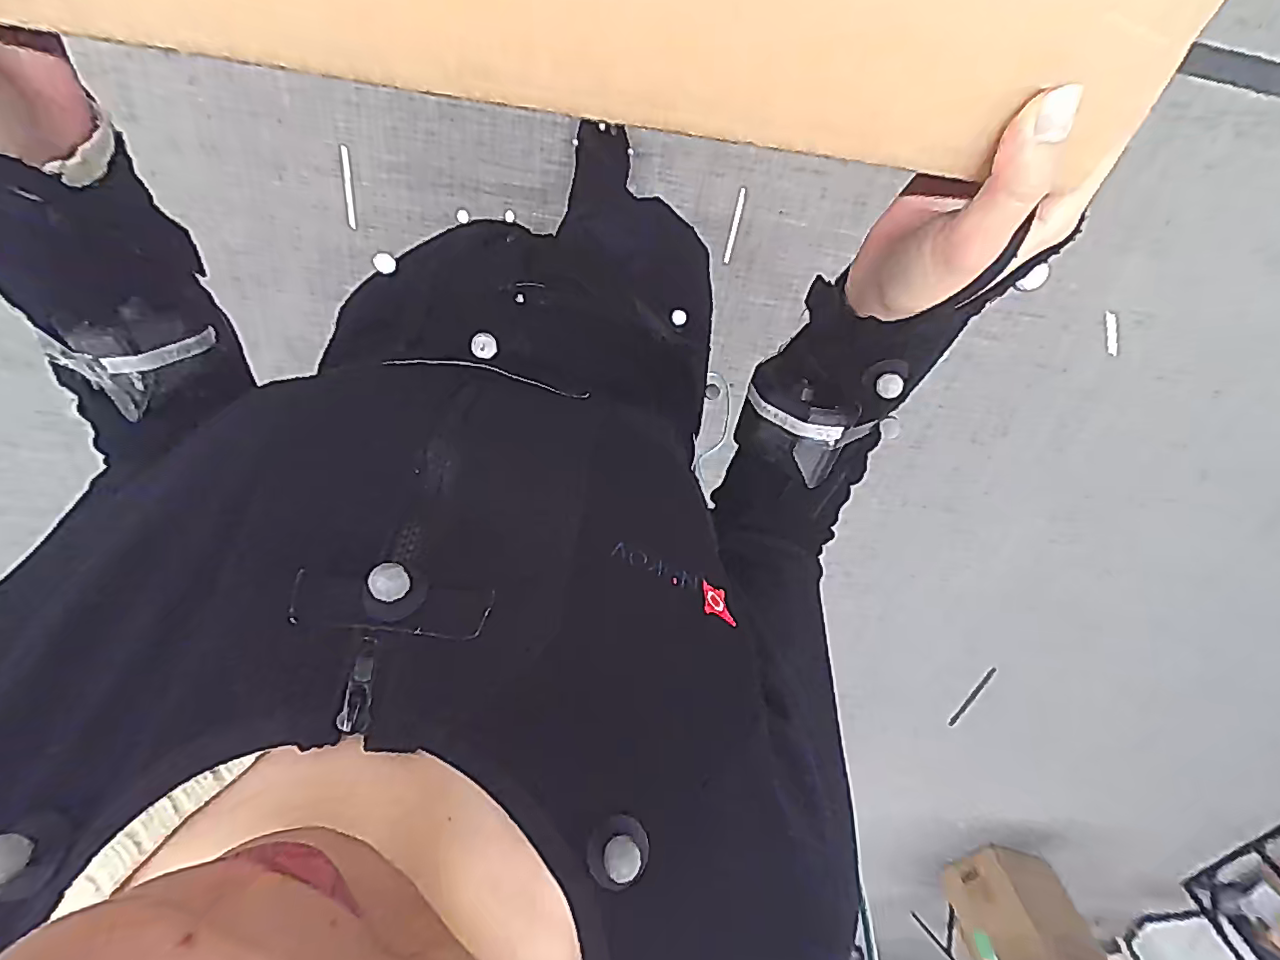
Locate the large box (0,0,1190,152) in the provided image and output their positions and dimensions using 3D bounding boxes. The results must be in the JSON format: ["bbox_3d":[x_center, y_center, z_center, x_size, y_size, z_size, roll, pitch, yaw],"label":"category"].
[{"bbox_3d":[-0.016,-0.345,0.158,0.408,0.320,0.320,4,143,-6],"label":"large box"}]
